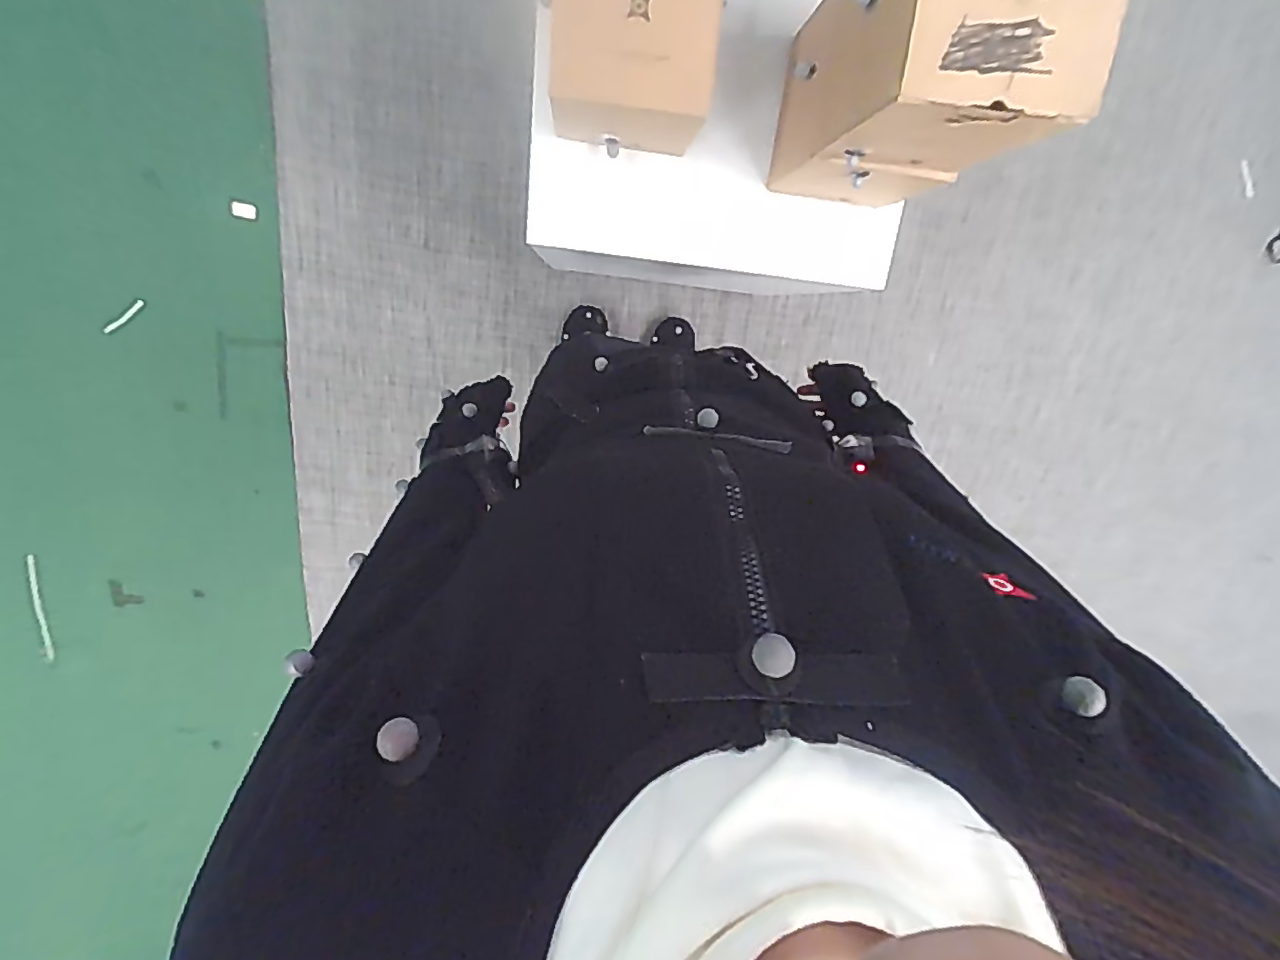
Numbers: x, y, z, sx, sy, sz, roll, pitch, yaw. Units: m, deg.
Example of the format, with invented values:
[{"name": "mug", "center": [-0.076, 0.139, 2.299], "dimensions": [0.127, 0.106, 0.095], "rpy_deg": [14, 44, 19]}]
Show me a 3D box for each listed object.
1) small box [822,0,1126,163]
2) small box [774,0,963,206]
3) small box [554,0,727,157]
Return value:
[{"name": "small box", "center": [0.275, -0.394, 0.469], "dimensions": [0.168, 0.176, 0.179], "rpy_deg": [3, 107, -5]}, {"name": "small box", "center": [0.268, -0.438, 0.627], "dimensions": [0.168, 0.176, 0.179], "rpy_deg": [5, 107, -5]}, {"name": "small box", "center": [-0.004, -0.481, 0.594], "dimensions": [0.168, 0.176, 0.179], "rpy_deg": [3, 109, -5]}]
